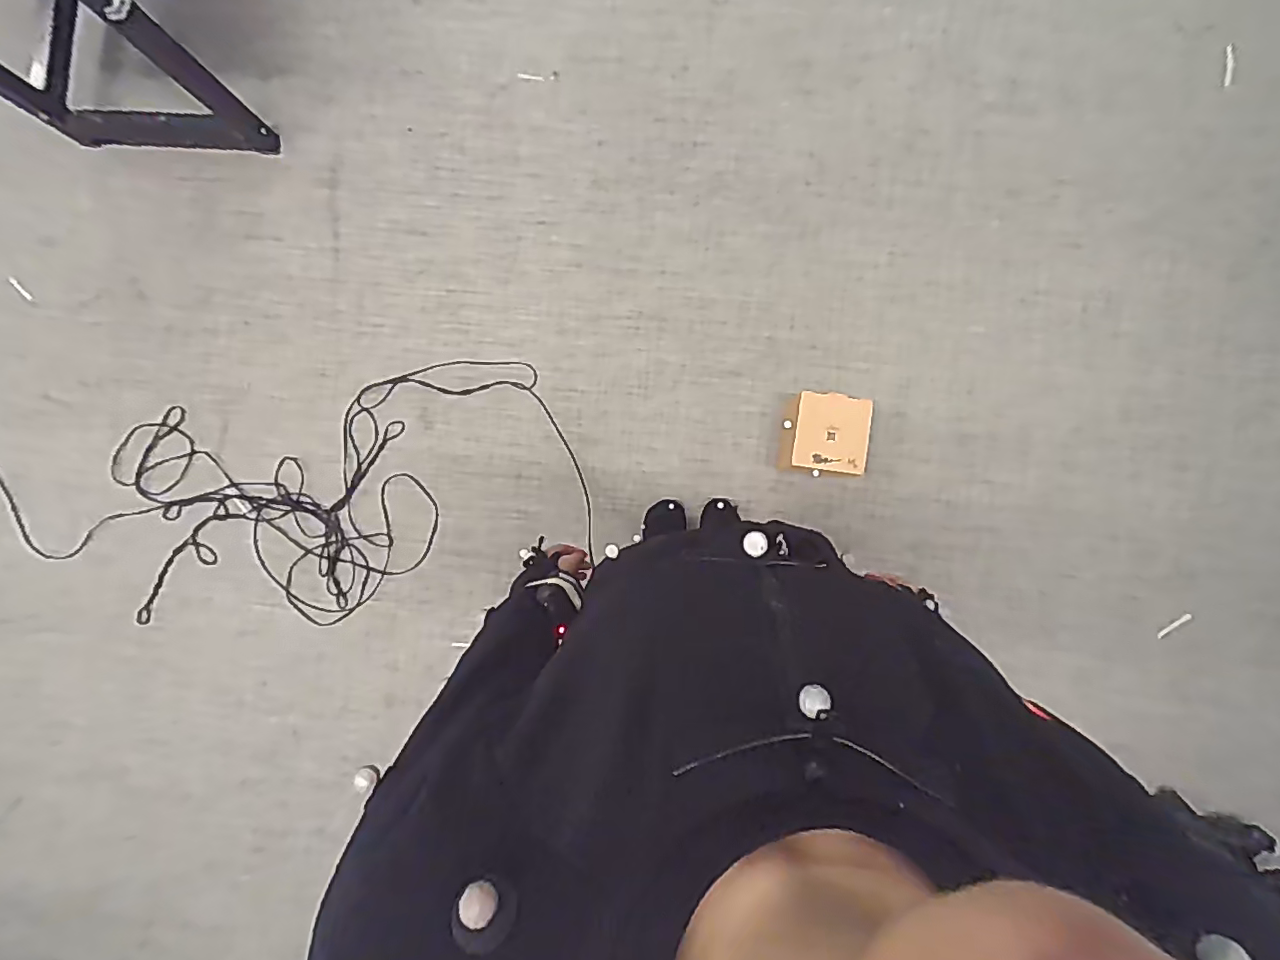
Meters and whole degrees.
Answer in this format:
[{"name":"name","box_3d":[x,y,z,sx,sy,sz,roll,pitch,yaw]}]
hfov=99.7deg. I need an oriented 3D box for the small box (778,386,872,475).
[{"name":"small box","box_3d":[0.436,-0.113,1.297,0.168,0.176,0.179,8,88,3]}]
